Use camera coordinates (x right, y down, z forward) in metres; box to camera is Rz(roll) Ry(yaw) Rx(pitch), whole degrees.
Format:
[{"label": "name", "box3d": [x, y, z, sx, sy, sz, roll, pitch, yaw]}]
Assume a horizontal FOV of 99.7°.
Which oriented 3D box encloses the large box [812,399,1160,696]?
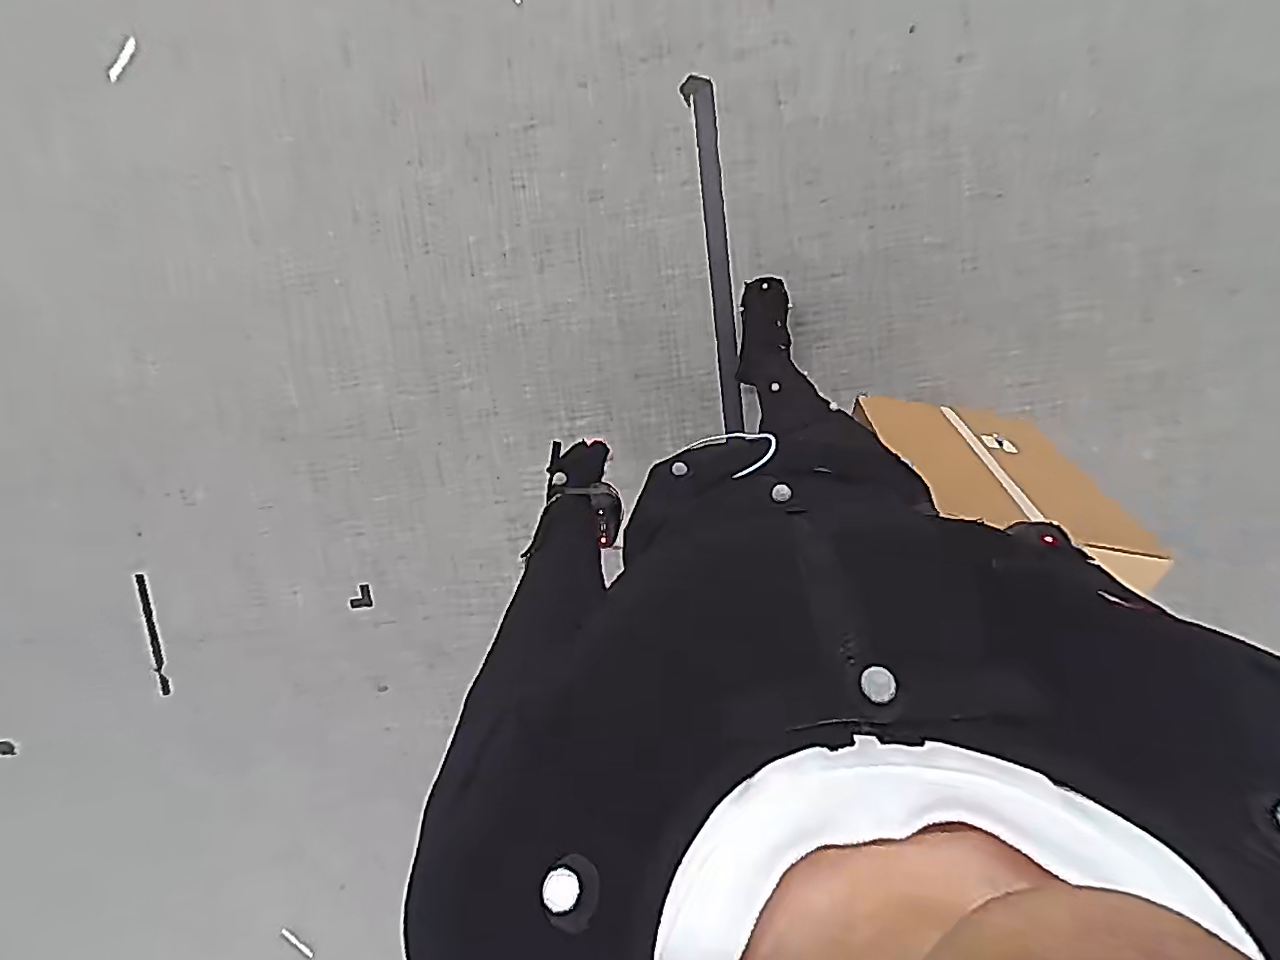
[{"label": "large box", "box3d": [0.518, 0.094, 0.934, 0.320, 0.408, 0.320, 10, 121, 2]}]
